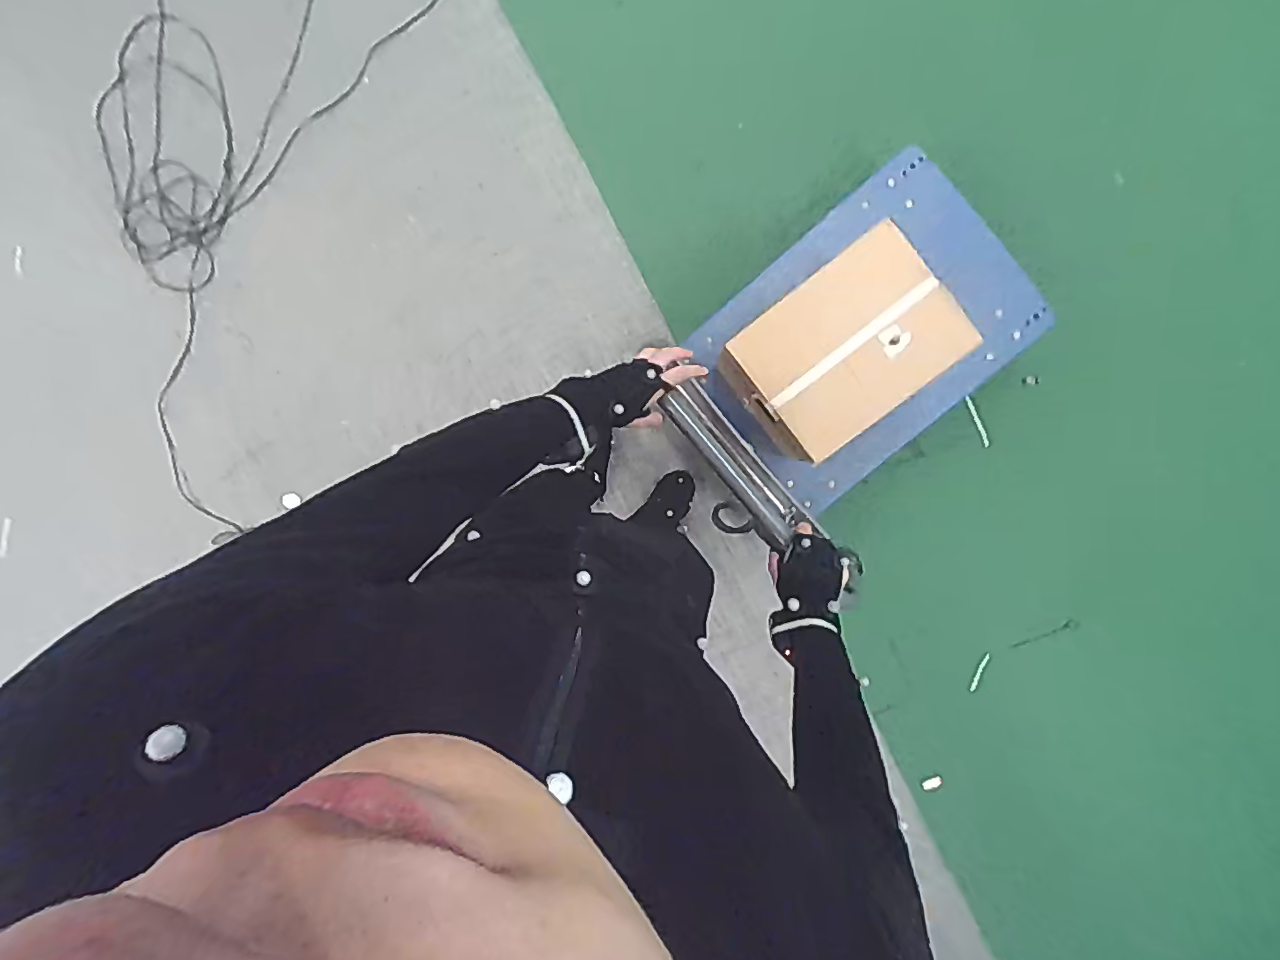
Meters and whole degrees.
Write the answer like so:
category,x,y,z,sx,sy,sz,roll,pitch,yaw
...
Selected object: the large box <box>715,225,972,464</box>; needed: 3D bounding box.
category,x,y,z,sx,sy,sz,roll,pitch,yaw
large box,0.427,-0.278,1.240,0.408,0.320,0.320,-37,92,5
